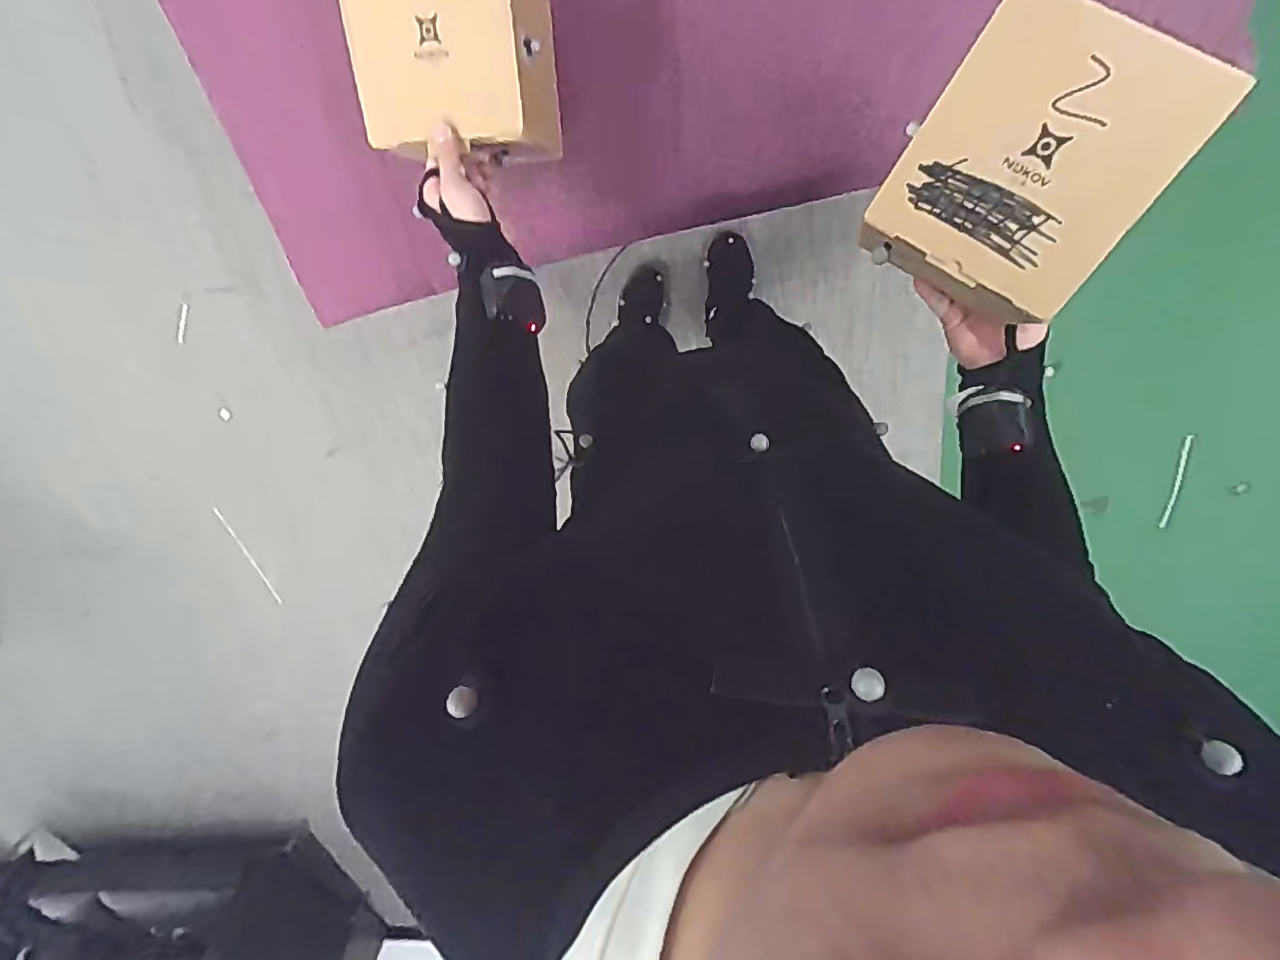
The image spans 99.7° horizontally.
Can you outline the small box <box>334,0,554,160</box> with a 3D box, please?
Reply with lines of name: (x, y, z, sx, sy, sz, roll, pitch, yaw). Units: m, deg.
small box: (-0.195, -0.451, 0.580, 0.168, 0.176, 0.179, 1, 114, 5)
